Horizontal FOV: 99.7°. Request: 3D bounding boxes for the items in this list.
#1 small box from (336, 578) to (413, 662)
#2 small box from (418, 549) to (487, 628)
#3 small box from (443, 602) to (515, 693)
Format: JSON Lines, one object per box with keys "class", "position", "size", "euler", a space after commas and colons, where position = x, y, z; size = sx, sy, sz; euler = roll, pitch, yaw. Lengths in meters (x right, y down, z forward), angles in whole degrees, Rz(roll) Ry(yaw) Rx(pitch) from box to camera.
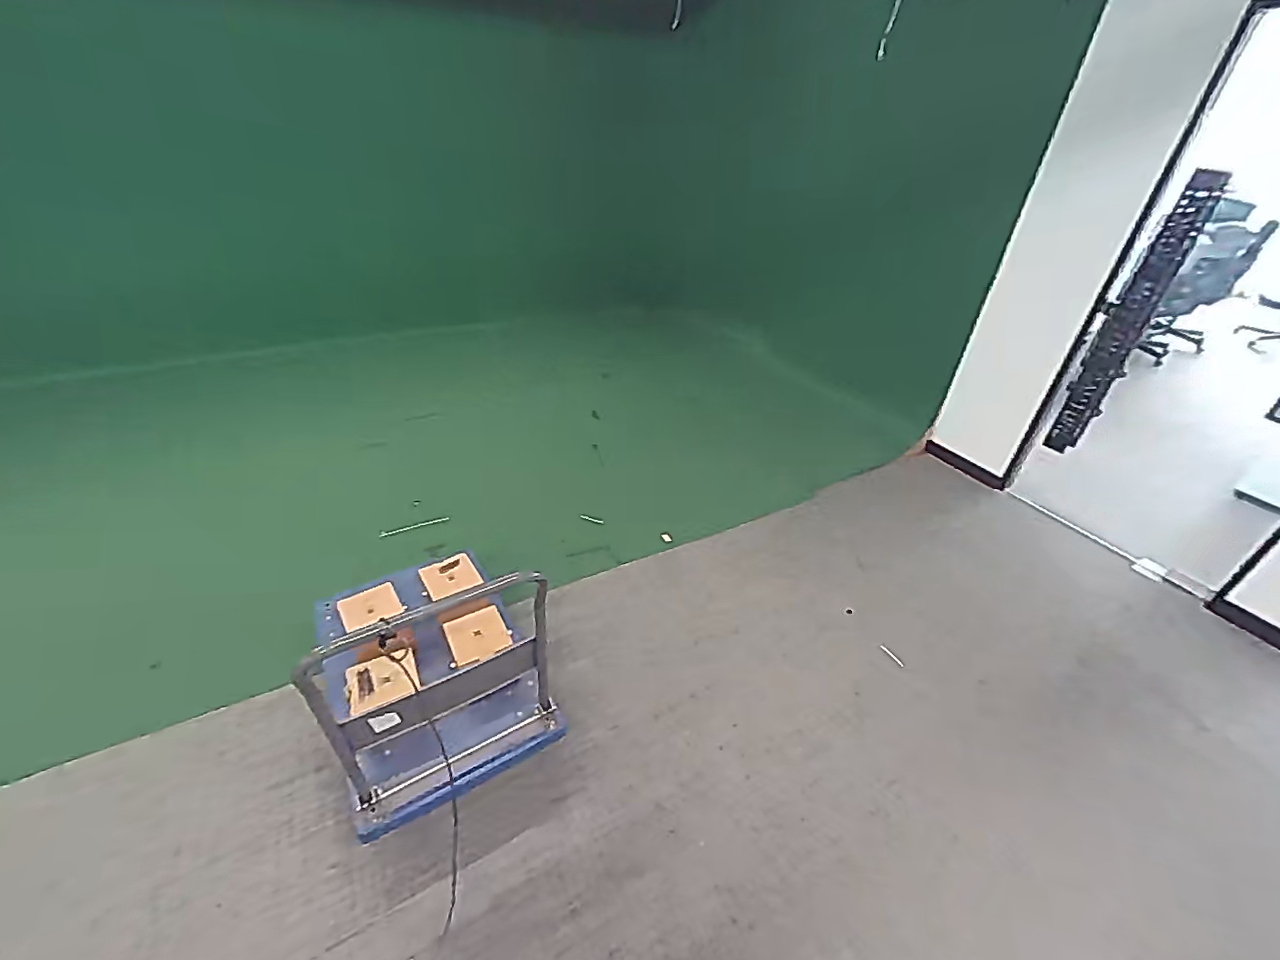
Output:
{"class": "small box", "position": [-0.841, 0.451, 1.718], "size": [0.168, 0.176, 0.179], "euler": [-20, 42, -30]}
{"class": "small box", "position": [-0.637, 0.372, 1.844], "size": [0.168, 0.176, 0.179], "euler": [-22, 44, -29]}
{"class": "small box", "position": [-0.495, 0.514, 1.664], "size": [0.168, 0.176, 0.179], "euler": [-17, 42, -26]}
